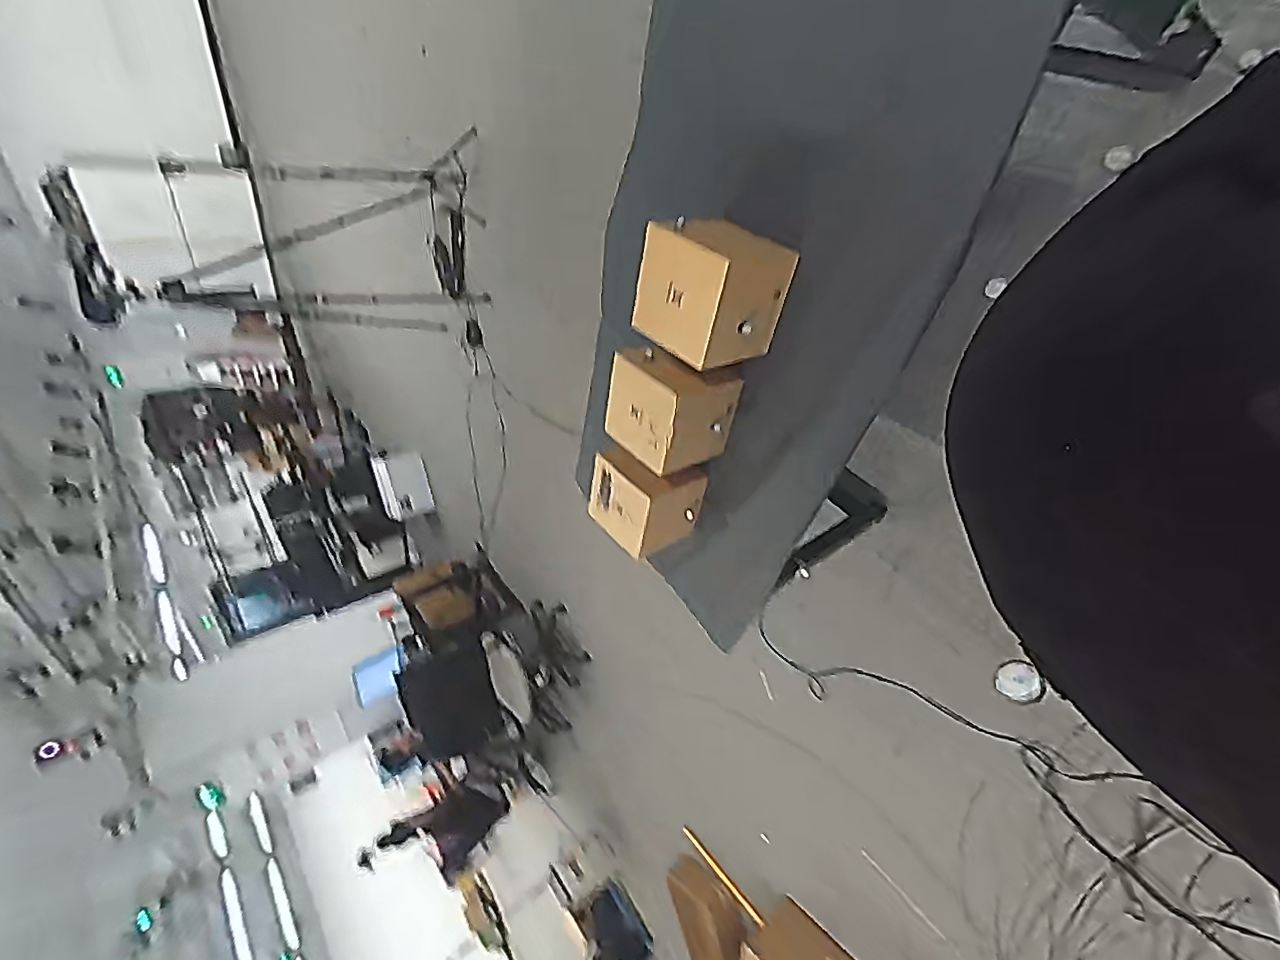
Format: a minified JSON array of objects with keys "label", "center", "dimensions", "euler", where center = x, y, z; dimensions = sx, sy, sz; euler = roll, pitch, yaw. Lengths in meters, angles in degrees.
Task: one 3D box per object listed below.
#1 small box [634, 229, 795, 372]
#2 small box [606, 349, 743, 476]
[{"label":"small box","center":[0.117,-0.298,0.870],"dimensions":[0.179,0.176,0.168],"euler":[41,136,34]},{"label":"small box","center":[0.061,-0.137,1.017],"dimensions":[0.179,0.176,0.168],"euler":[40,135,34]}]
